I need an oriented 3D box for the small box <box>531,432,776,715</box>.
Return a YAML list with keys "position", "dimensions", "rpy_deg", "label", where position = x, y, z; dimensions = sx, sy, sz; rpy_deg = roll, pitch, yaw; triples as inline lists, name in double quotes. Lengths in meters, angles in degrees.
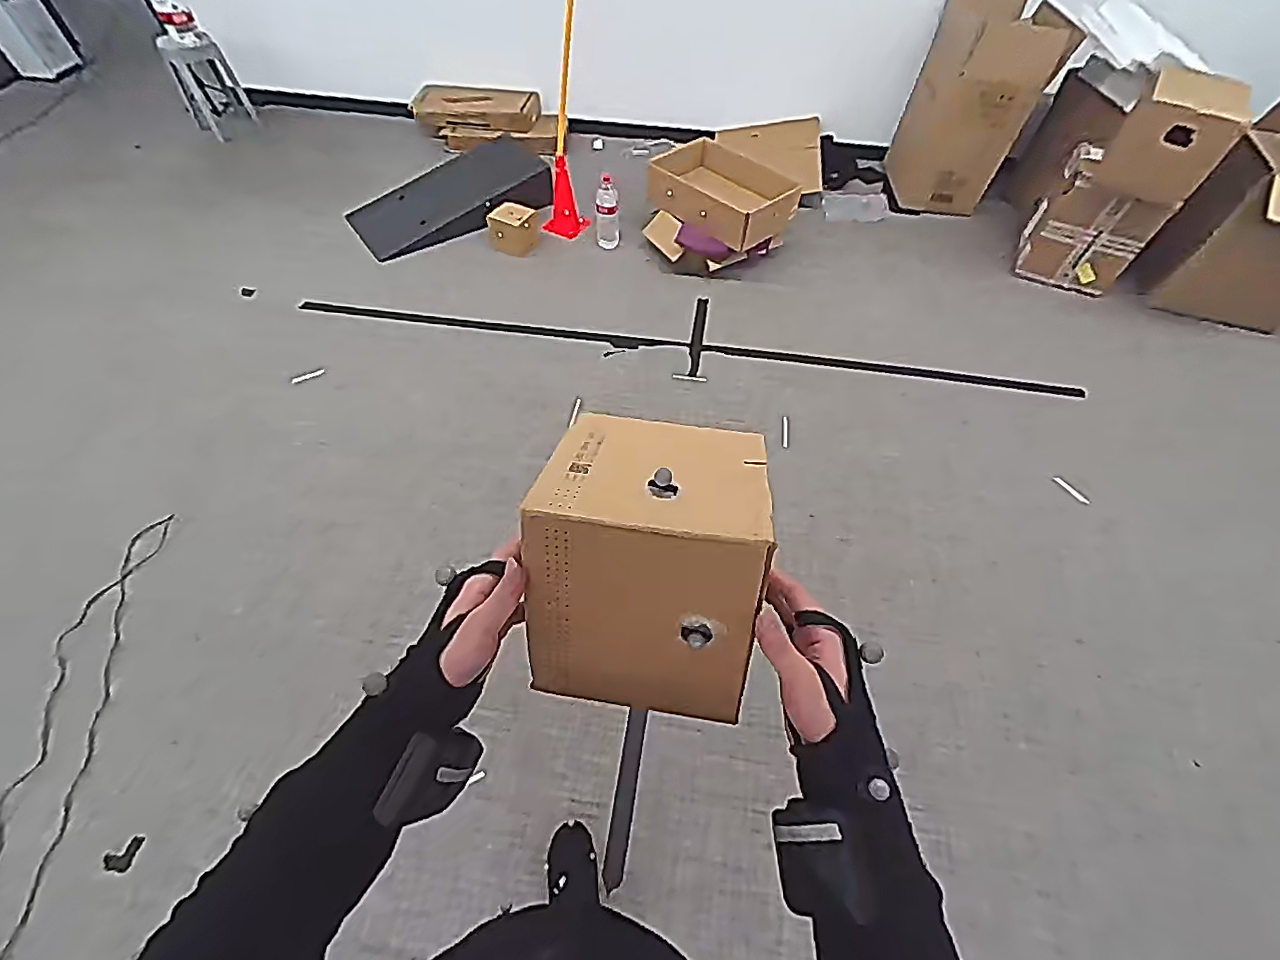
- position: [0.009, 0.066, 0.461]
  dimensions: [0.176, 0.179, 0.168]
  rpy_deg: [8, 28, 5]
  label: "small box"
